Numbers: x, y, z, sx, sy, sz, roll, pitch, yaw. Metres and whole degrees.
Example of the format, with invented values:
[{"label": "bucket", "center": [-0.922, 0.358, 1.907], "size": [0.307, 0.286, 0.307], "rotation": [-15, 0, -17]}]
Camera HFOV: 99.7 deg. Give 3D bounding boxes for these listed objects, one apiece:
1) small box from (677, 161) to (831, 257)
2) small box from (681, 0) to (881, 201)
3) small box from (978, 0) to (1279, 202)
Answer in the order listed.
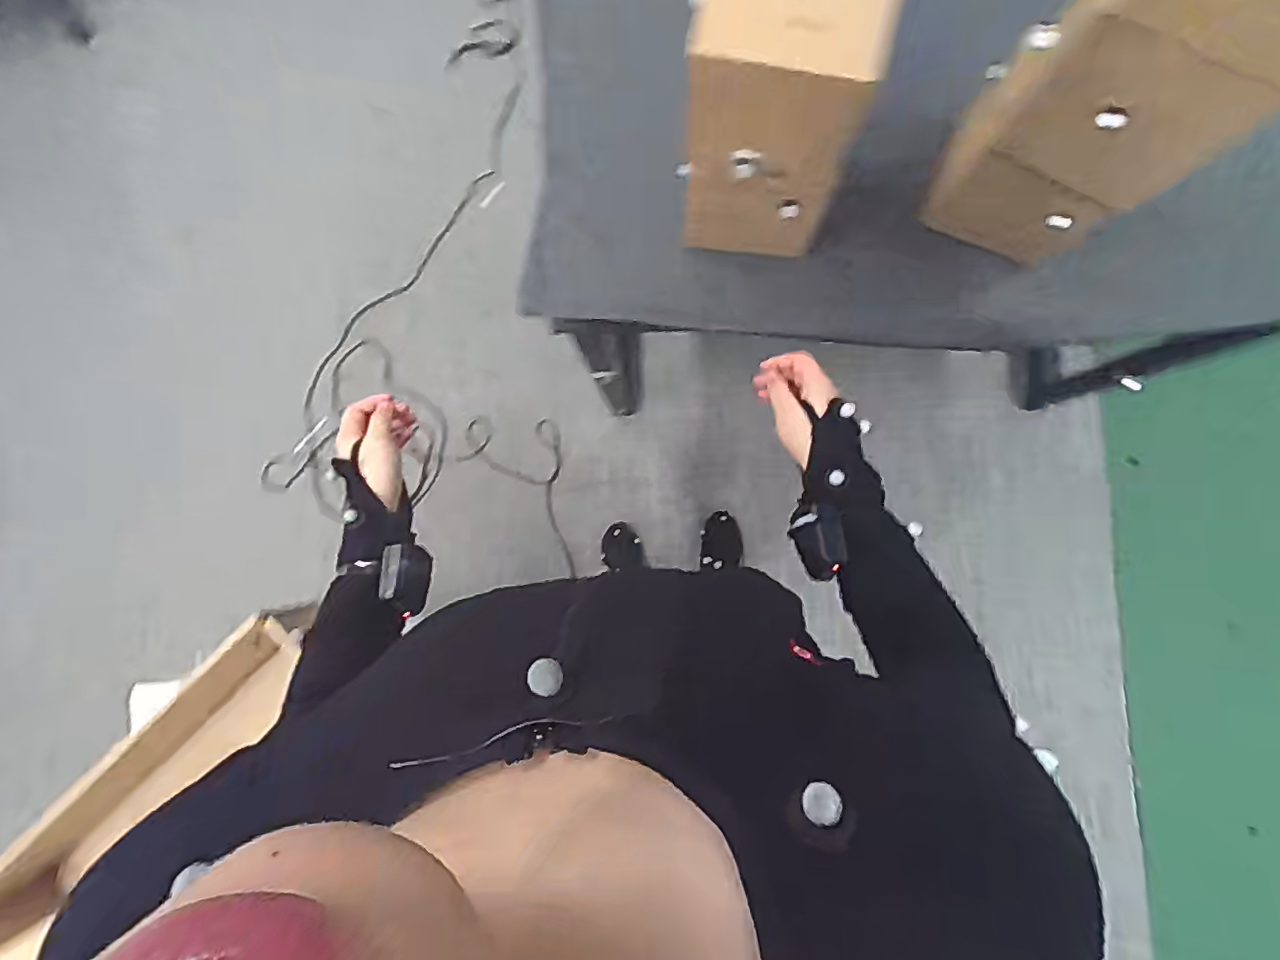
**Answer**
[{"label": "small box", "center": [0.148, -0.420, 0.724], "size": [0.179, 0.176, 0.168], "rotation": [7, 84, 4]}, {"label": "small box", "center": [0.138, -0.431, 0.562], "size": [0.168, 0.176, 0.179], "rotation": [12, 86, 5]}, {"label": "small box", "center": [0.494, -0.417, 0.540], "size": [0.179, 0.176, 0.168], "rotation": [30, 86, 5]}]
